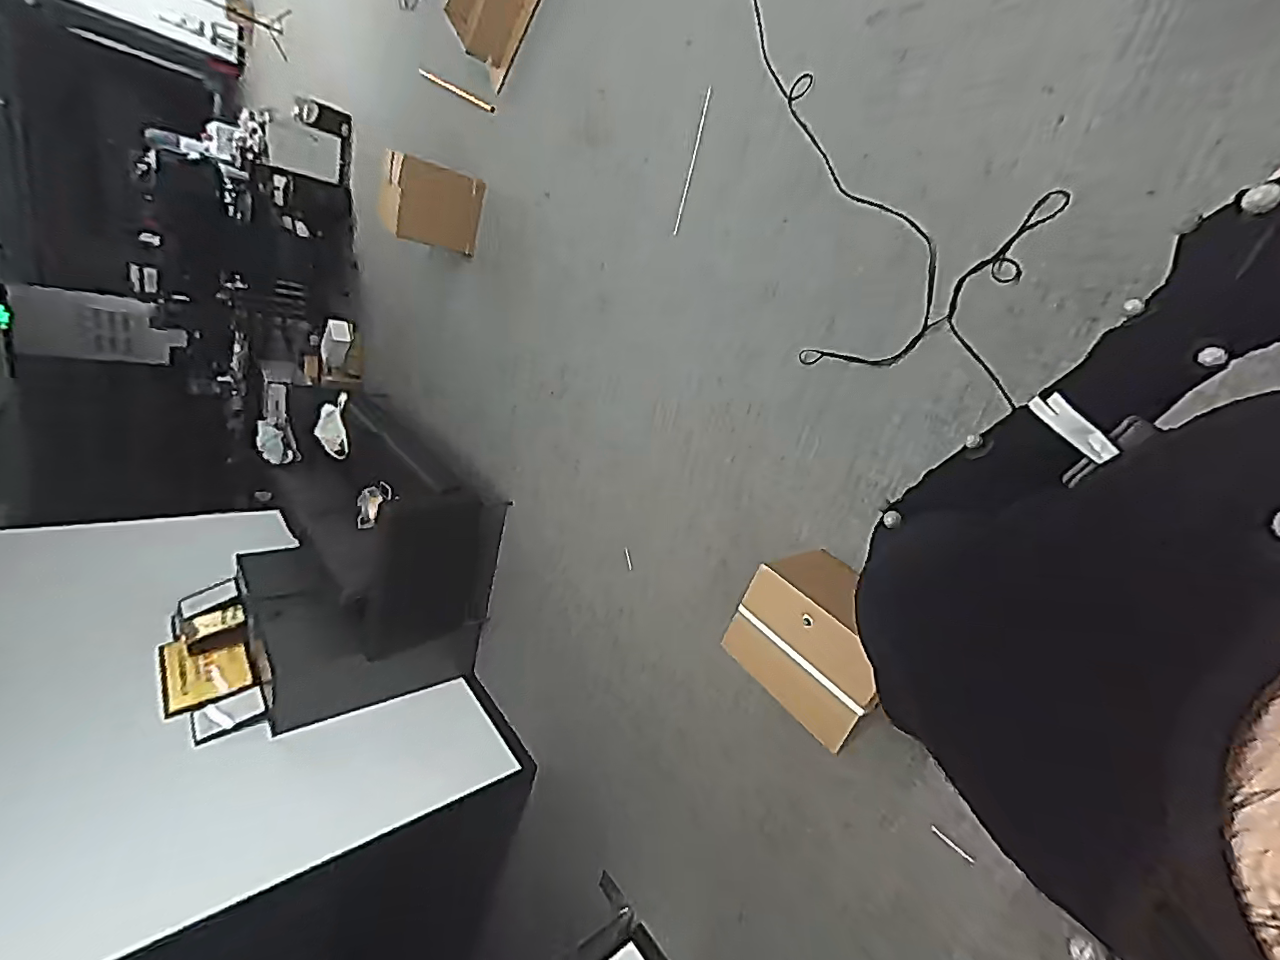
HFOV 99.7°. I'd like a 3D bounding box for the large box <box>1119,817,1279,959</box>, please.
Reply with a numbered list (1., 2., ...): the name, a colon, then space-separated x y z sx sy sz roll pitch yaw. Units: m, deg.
1. large box: 1.096 0.904 0.926 0.320 0.320 0.408 32 116 41
